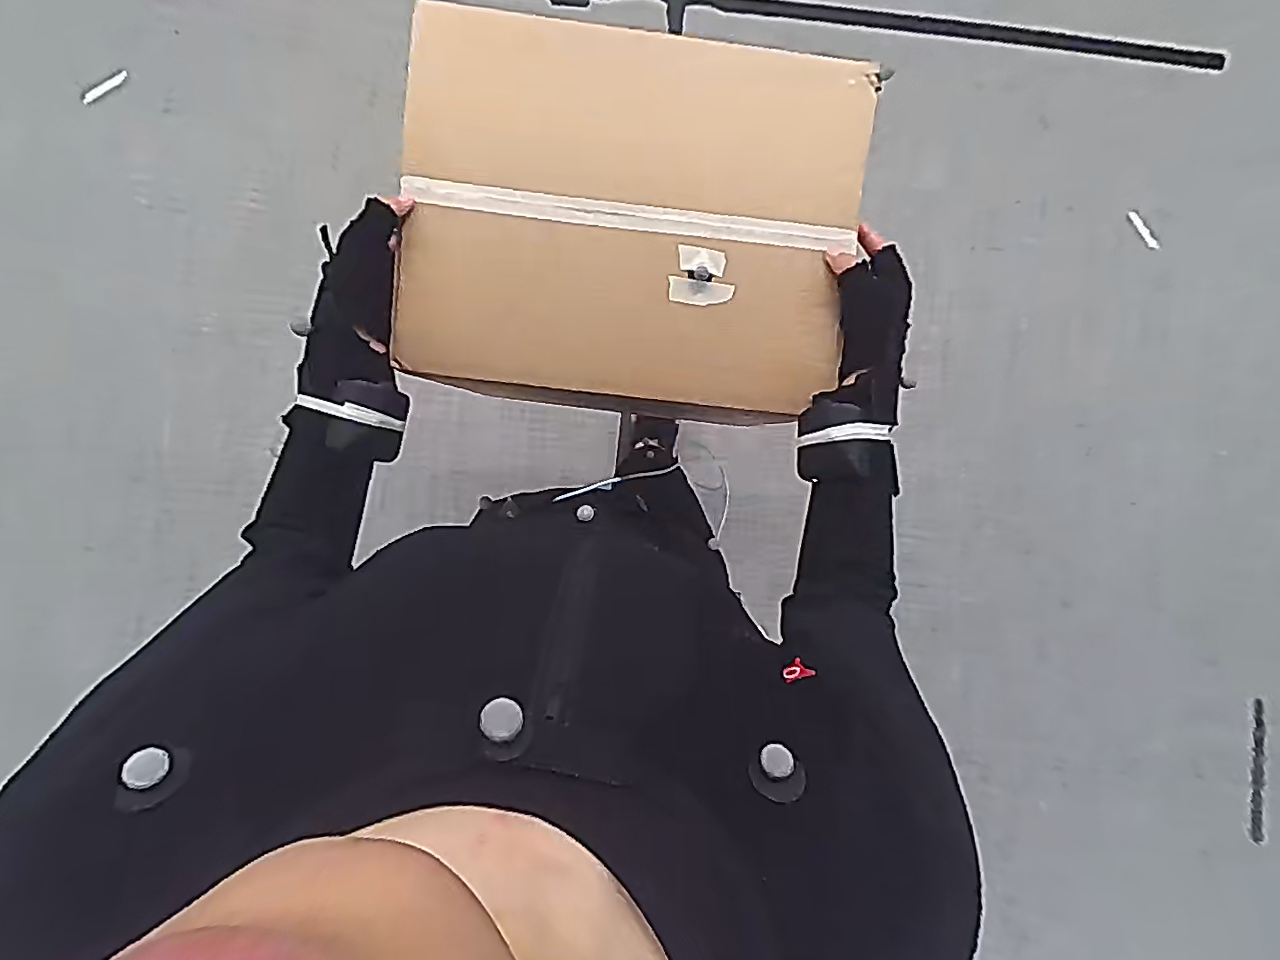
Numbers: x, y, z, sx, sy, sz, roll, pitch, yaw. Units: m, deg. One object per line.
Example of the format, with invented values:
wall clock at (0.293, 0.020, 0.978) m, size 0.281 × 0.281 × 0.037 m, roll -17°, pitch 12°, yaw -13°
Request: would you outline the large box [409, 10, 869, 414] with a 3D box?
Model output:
large box at (-0.010, -0.256, 0.643) m, size 0.408 × 0.320 × 0.320 m, roll 7°, pitch 95°, yaw -3°
